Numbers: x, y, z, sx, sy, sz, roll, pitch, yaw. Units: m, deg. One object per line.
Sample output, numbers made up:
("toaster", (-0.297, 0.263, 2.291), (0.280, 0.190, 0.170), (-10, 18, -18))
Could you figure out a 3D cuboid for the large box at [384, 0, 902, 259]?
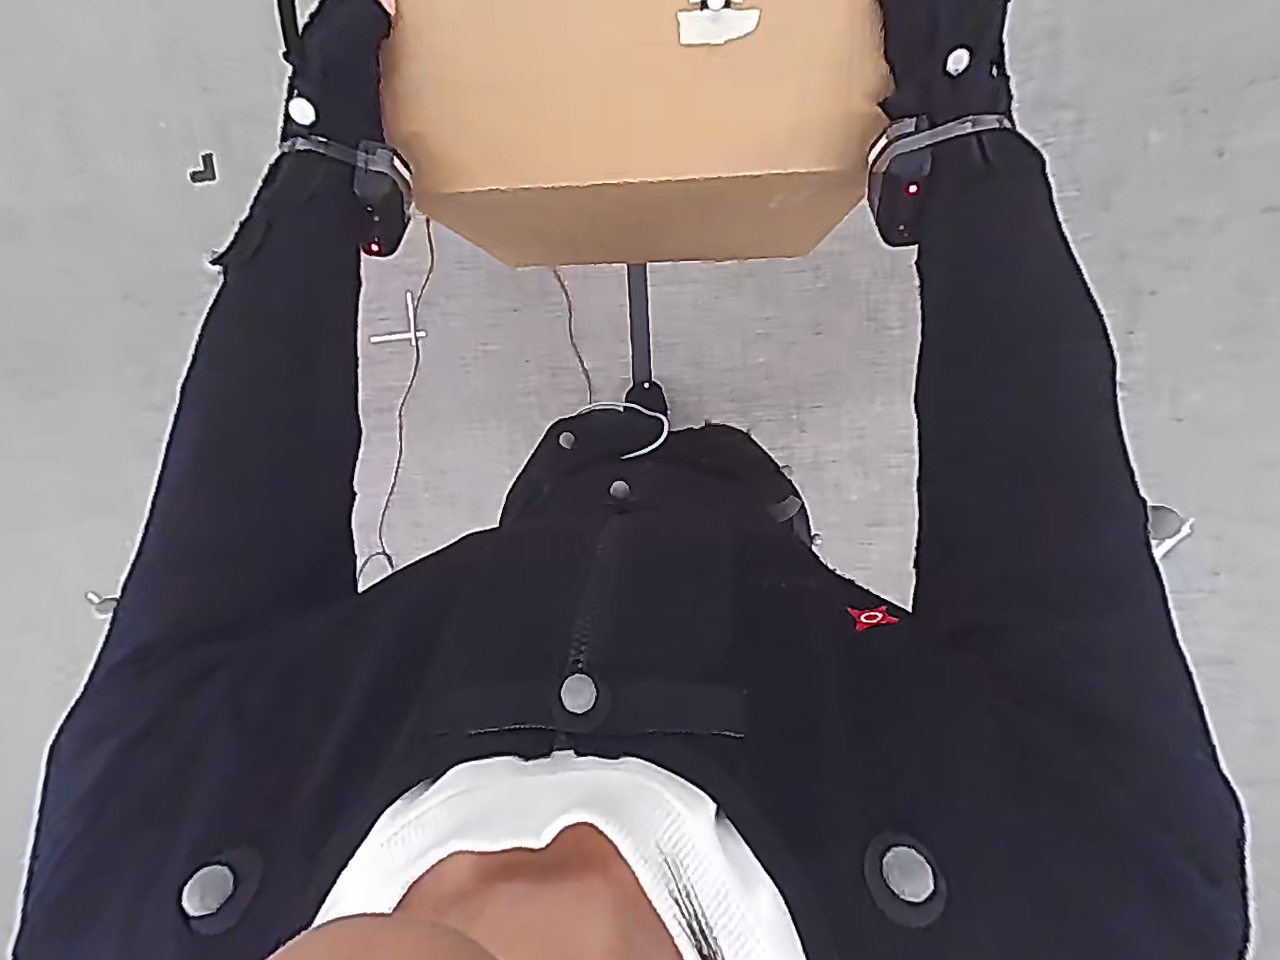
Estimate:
("large box", (0.004, -0.428, 0.552), (0.408, 0.320, 0.320), (-1, 102, 4))
